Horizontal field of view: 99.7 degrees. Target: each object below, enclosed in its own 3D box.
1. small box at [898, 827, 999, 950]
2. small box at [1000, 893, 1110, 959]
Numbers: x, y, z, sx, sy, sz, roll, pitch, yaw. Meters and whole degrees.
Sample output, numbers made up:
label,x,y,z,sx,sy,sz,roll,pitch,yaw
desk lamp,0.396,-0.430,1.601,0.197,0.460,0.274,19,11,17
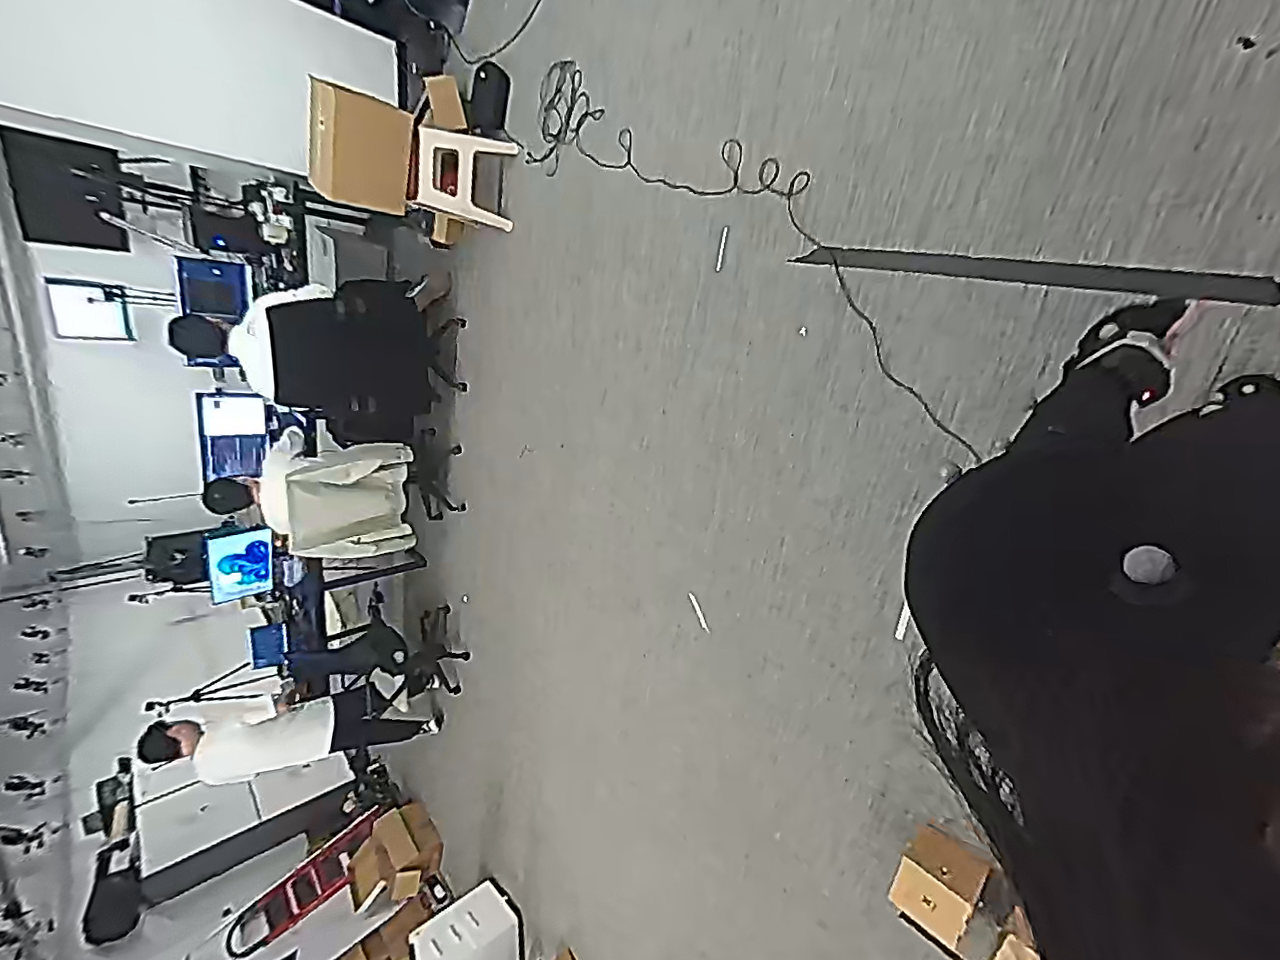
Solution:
label,x,y,z,sx,sy,sz,roll,pitch,yaw
small box,0.847,1.104,1.479,0.179,0.176,0.168,24,113,43
small box,1.008,1.177,1.319,0.168,0.176,0.179,27,116,40
